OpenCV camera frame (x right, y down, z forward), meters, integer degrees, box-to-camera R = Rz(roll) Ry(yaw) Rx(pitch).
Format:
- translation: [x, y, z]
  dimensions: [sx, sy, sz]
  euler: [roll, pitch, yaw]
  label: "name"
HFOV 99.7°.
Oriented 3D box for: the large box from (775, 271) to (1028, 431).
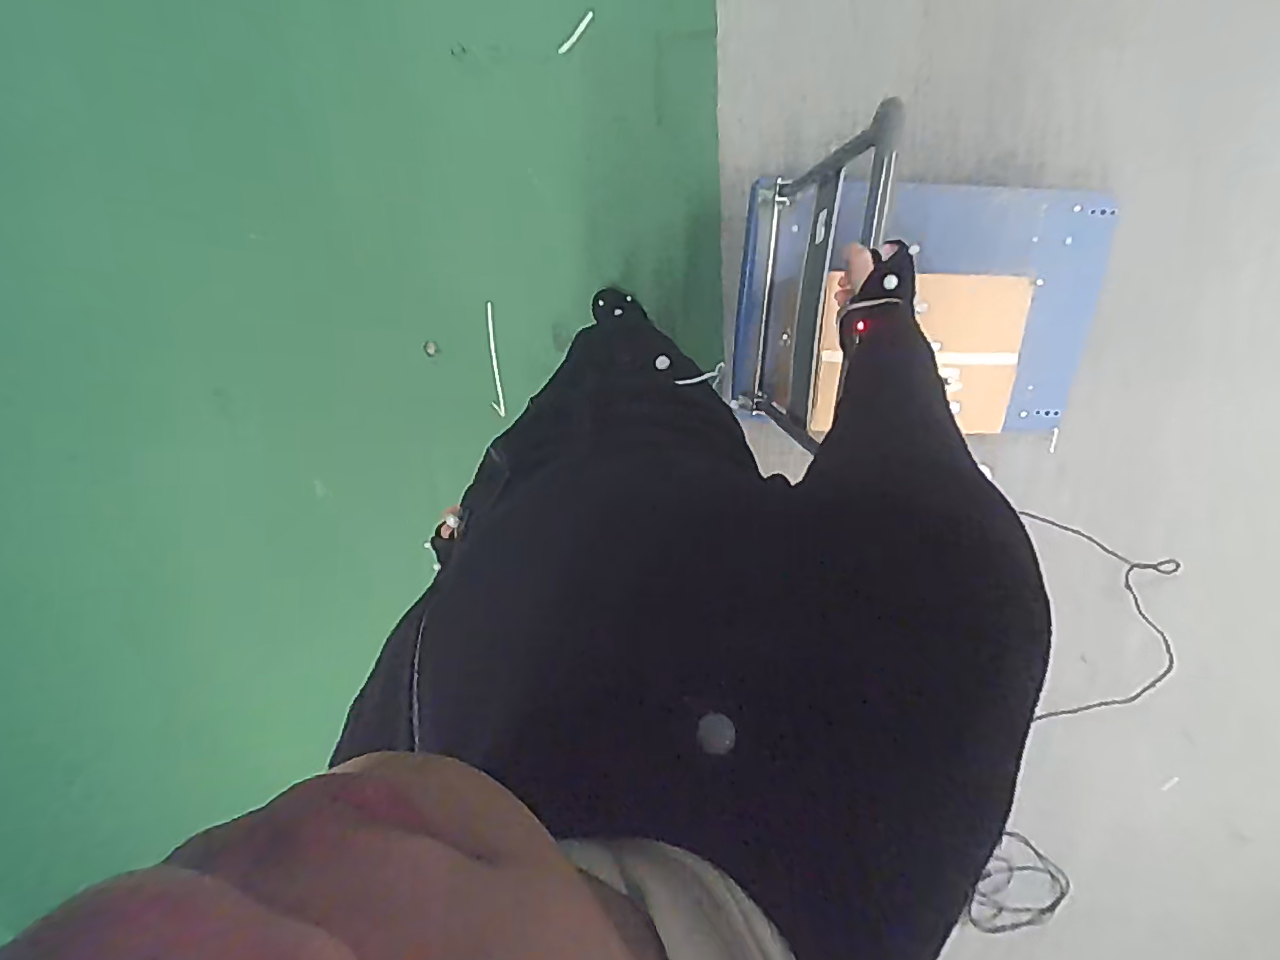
- translation: [0.546, -0.293, 1.222]
  dimensions: [0.408, 0.320, 0.320]
  euler: [1, 108, -2]
  label: "large box"
